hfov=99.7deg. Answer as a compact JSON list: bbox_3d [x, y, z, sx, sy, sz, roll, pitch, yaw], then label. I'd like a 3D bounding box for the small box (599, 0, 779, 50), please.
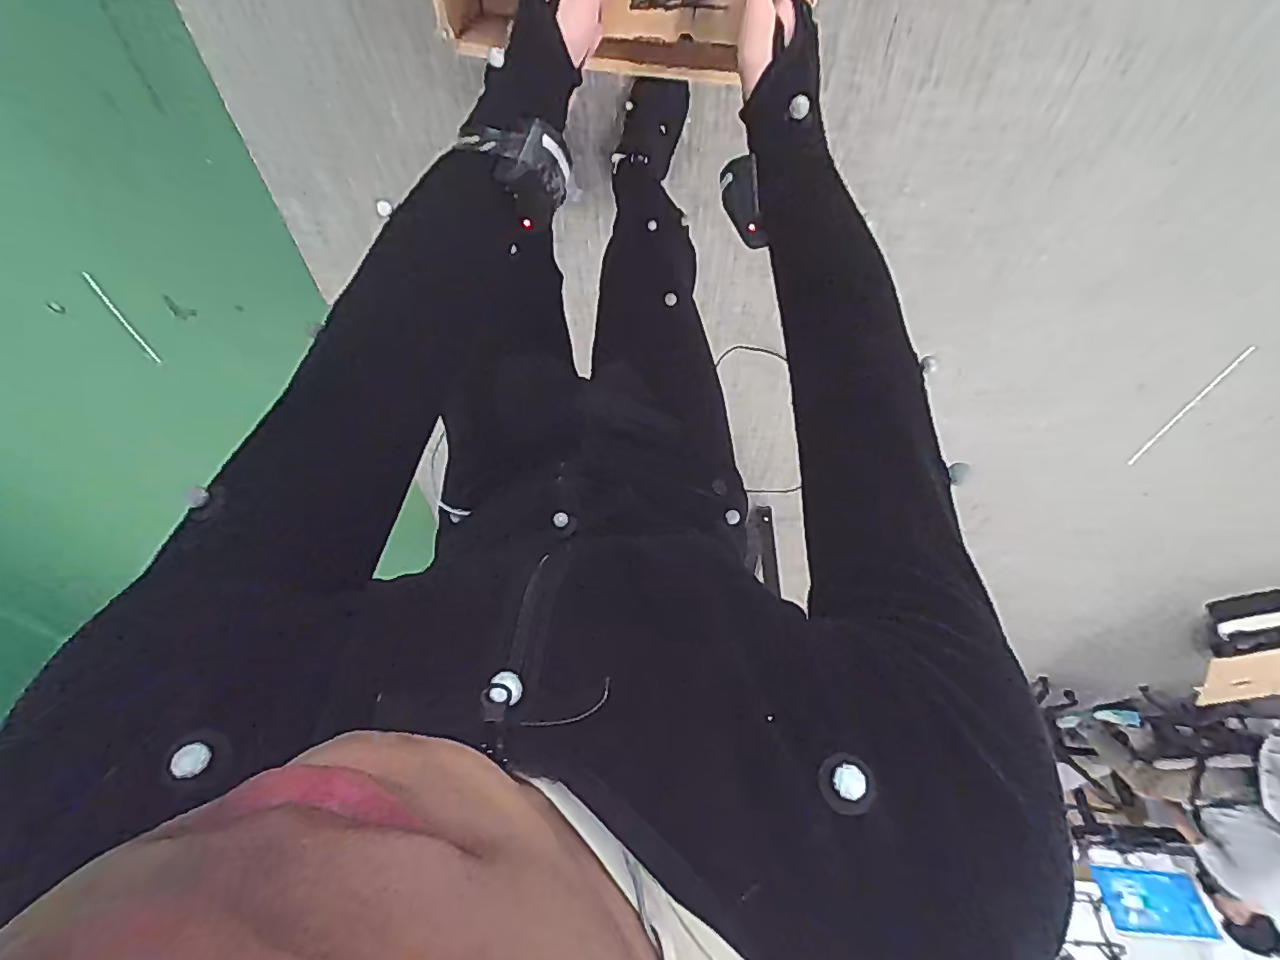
[{"bbox_3d":[0.057,-0.527,0.484,0.168,0.176,0.179,7,144,3],"label":"small box"}]

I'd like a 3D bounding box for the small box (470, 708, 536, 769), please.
[{"bbox_3d":[-0.492,0.942,1.973,0.179,0.176,0.168,-2,141,6],"label":"small box"}]
